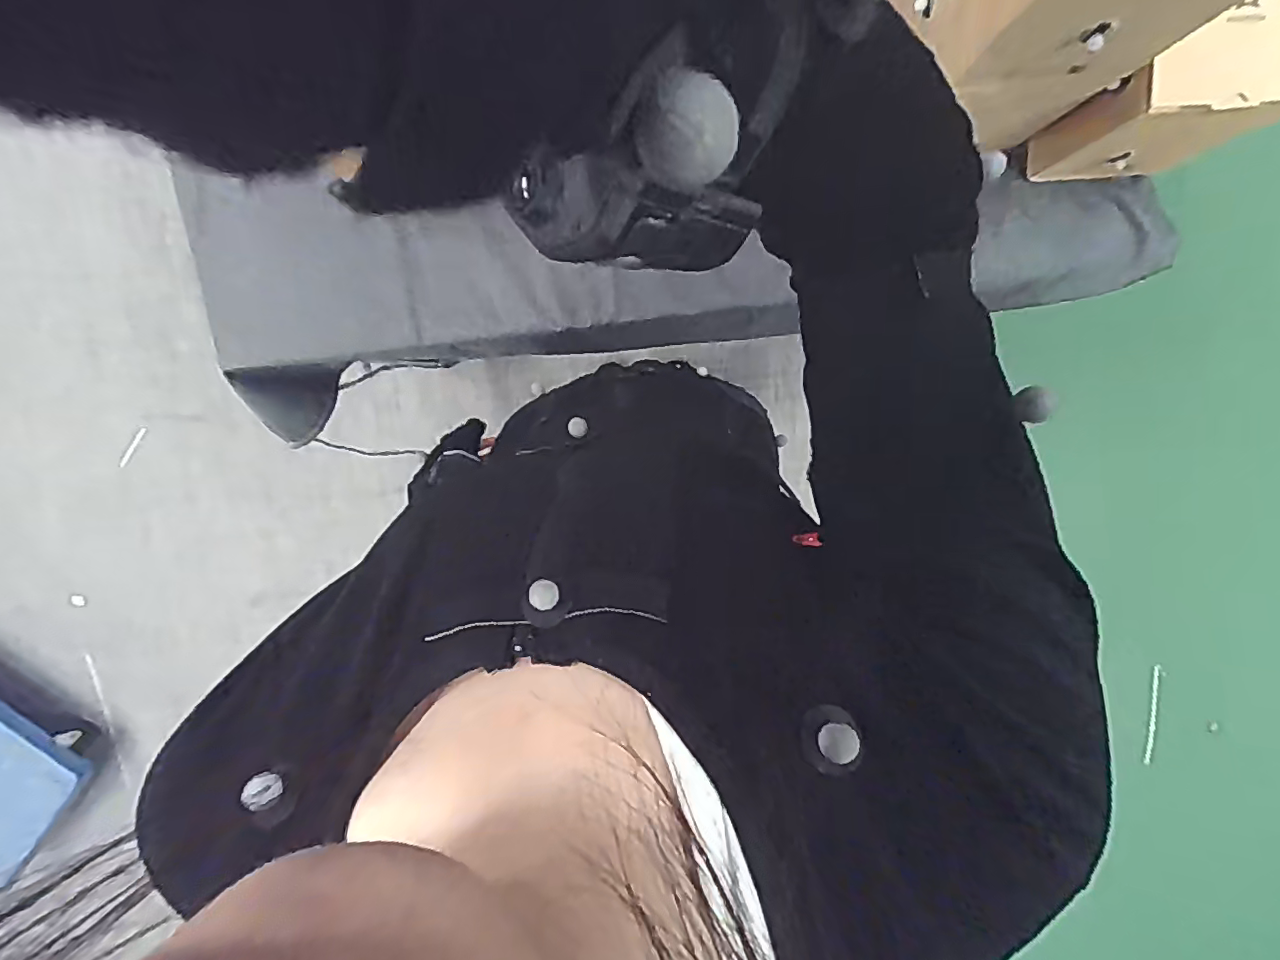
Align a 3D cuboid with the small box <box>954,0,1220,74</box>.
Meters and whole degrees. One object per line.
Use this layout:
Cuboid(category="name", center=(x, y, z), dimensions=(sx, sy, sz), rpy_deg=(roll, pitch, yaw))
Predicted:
Cuboid(category="small box", center=(0.367, -0.445, 0.414), dimensions=(0.168, 0.176, 0.179), rpy_deg=(-2, 100, 3))
